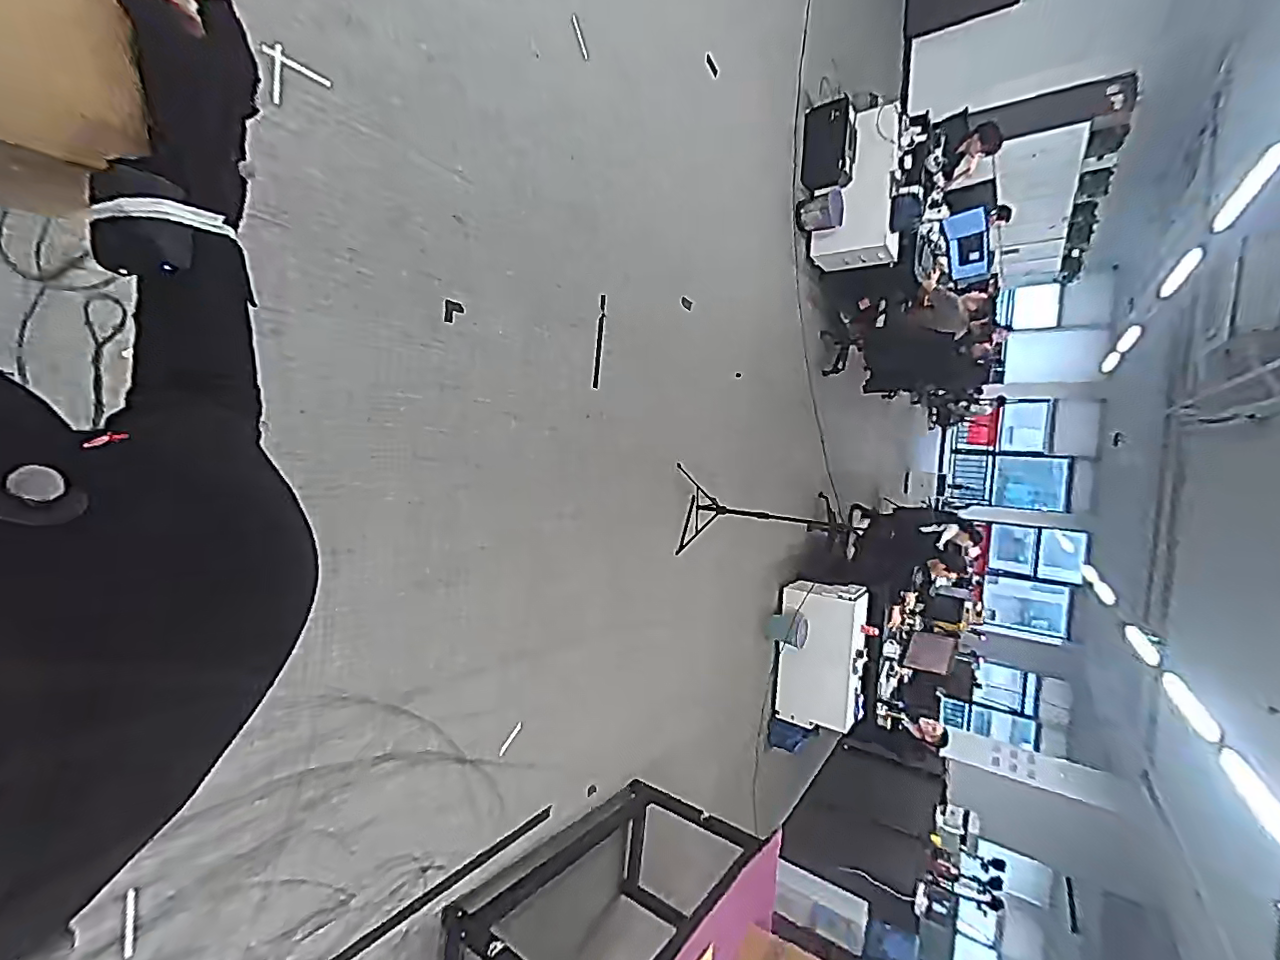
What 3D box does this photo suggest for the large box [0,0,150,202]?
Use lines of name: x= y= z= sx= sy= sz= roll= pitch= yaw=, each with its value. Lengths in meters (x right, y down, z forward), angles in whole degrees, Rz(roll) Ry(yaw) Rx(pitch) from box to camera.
large box: x=-0.592 y=-0.401 z=0.307 sx=0.408 sy=0.320 sz=0.320 roll=-5 pitch=106 yaw=-56
